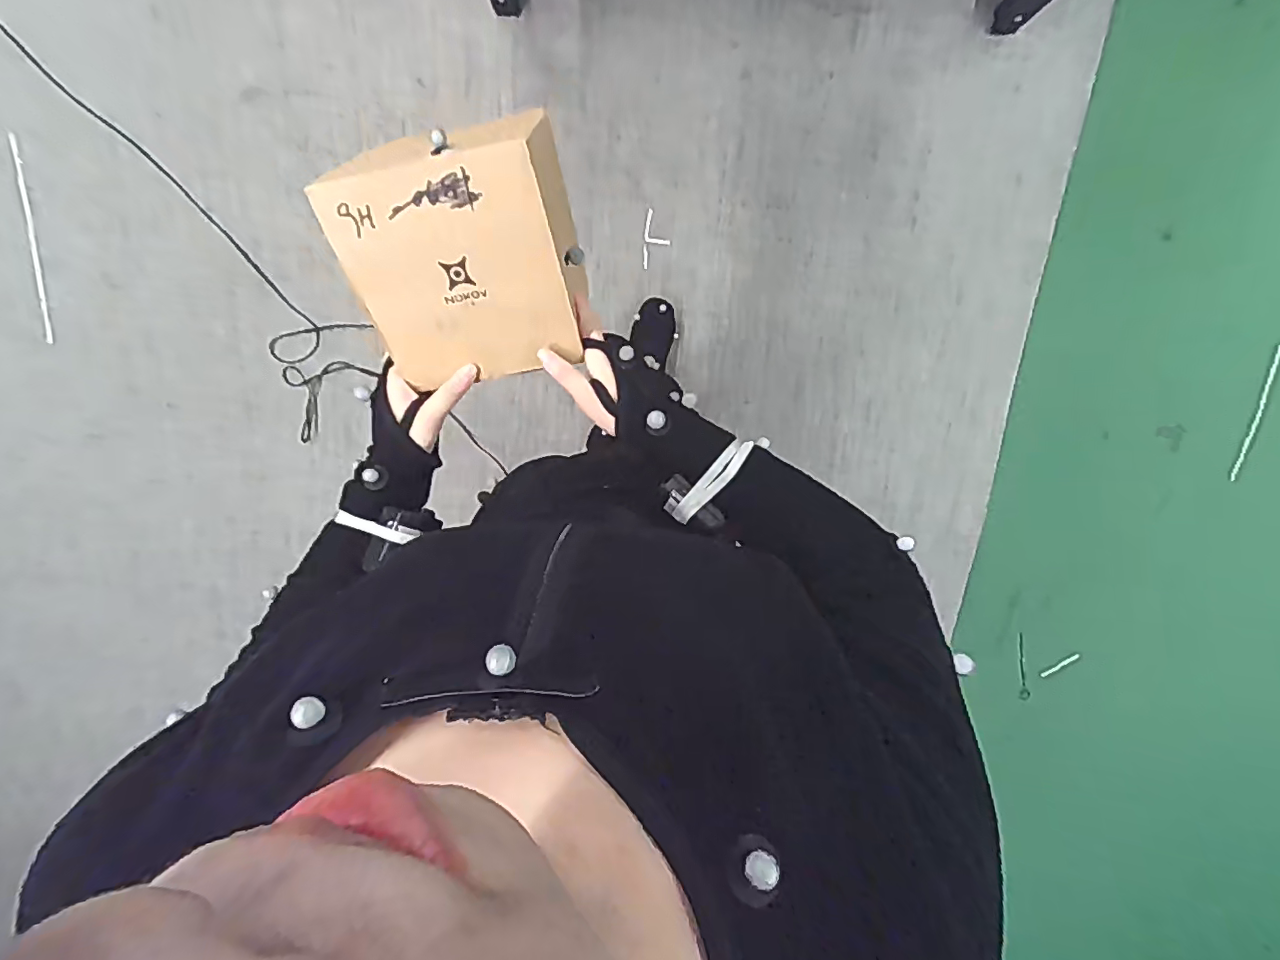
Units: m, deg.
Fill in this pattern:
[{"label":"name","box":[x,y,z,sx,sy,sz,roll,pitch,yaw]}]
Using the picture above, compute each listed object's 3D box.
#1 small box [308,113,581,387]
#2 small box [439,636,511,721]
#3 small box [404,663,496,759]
[{"label":"small box","box":[-0.154,-0.214,0.505,0.168,0.176,0.179,-9,130,4]},{"label":"small box","box":[-0.475,0.566,1.557,0.179,0.176,0.168,3,103,1]},{"label":"small box","box":[-0.479,0.589,1.396,0.179,0.176,0.168,-2,104,2]}]
